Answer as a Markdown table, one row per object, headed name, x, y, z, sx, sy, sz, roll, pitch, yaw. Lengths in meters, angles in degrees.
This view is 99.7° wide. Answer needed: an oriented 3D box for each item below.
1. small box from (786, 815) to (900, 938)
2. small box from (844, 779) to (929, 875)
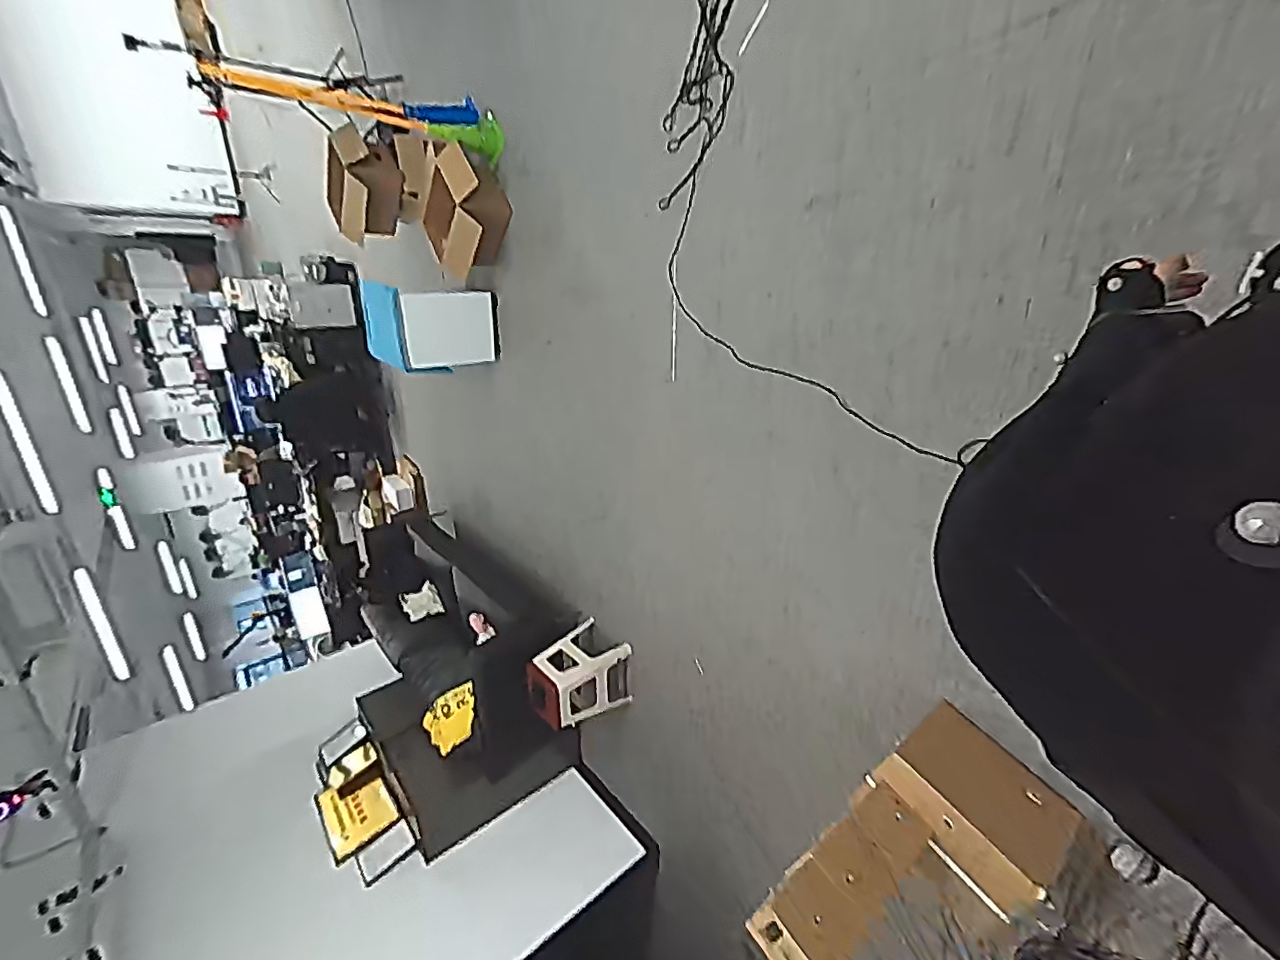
| name | x | y | z | sx | sy | sz | roll | pitch | yaw |
| --- | --- | --- | --- | --- | --- | --- | --- | --- | --- |
| small box | 0.512 | 0.990 | 1.368 | 0.179 | 0.176 | 0.168 | 44 | 135 | 32 |
| small box | 0.642 | 0.956 | 1.459 | 0.168 | 0.176 | 0.179 | 43 | 135 | 34 |
